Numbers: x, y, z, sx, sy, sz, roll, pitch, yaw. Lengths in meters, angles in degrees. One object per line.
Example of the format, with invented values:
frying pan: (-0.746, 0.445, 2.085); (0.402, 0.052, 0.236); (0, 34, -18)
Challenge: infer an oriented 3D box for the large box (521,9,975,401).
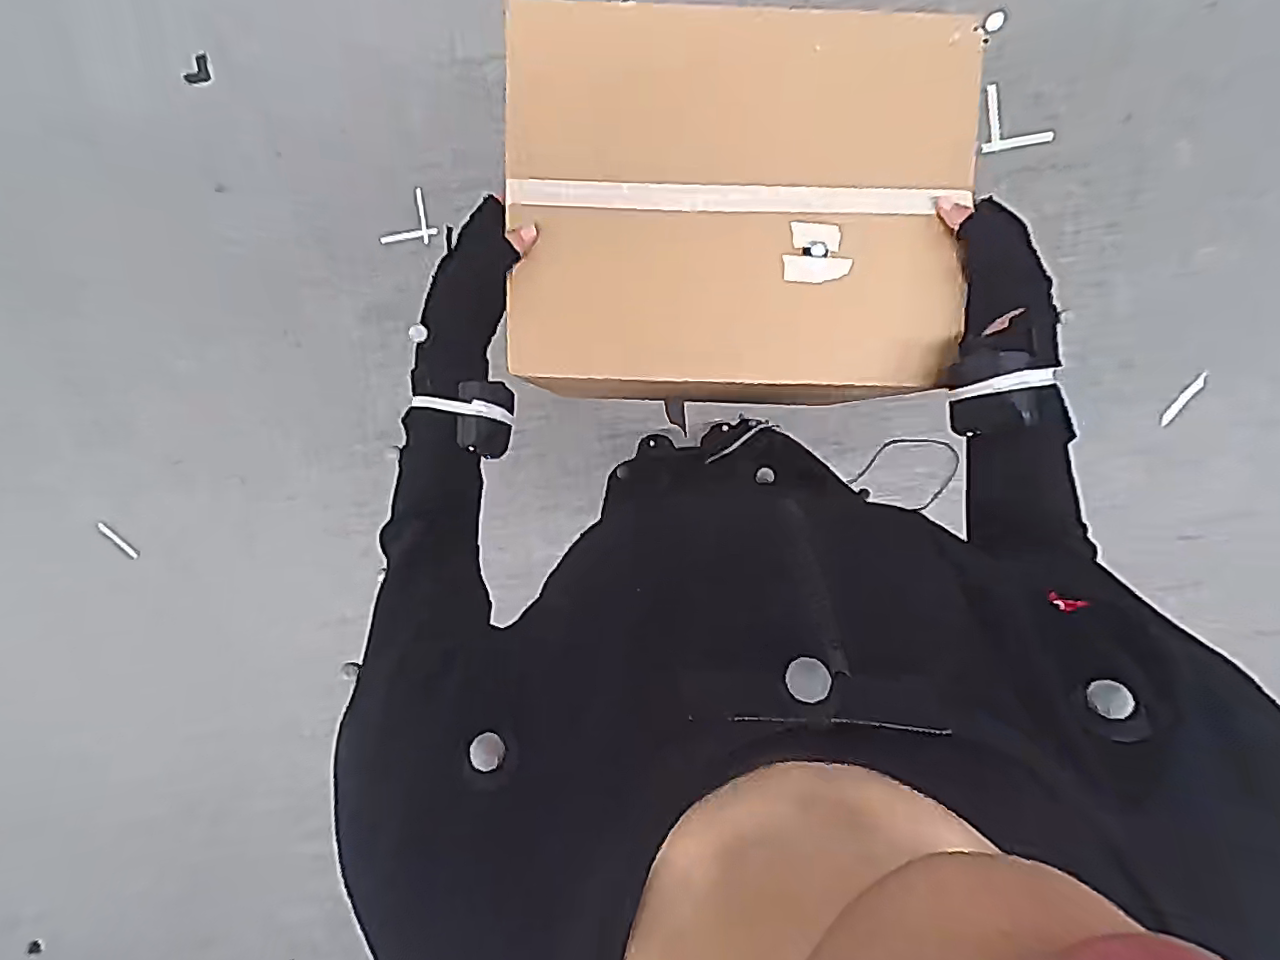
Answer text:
large box: (0.088, -0.261, 0.631); (0.408, 0.320, 0.320); (3, 96, -2)
